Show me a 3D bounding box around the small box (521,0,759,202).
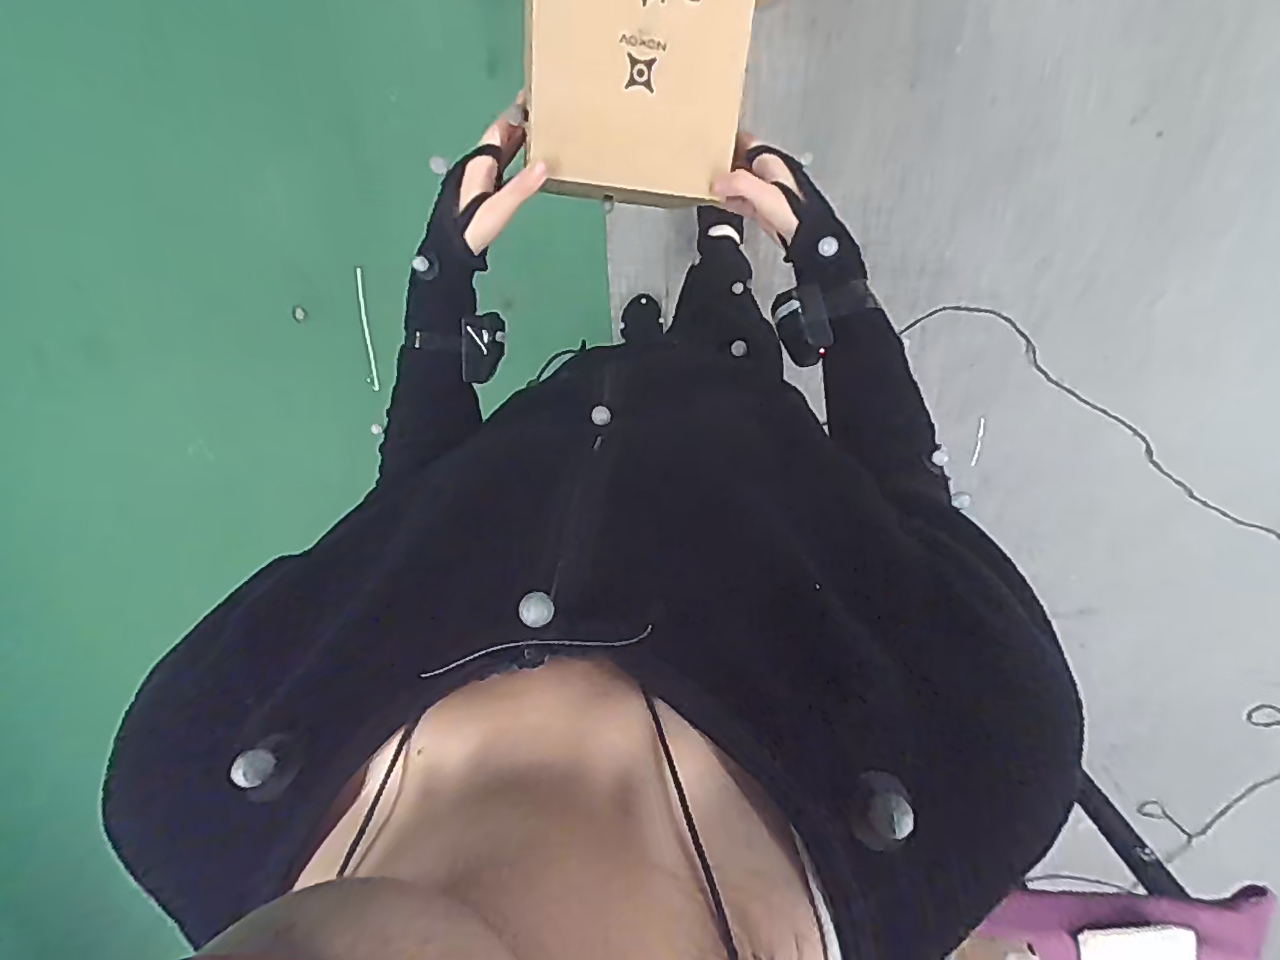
[{"bbox_3d":[-0.014,-0.349,0.469,0.168,0.176,0.179,0,113,-15],"label":"small box"}]
